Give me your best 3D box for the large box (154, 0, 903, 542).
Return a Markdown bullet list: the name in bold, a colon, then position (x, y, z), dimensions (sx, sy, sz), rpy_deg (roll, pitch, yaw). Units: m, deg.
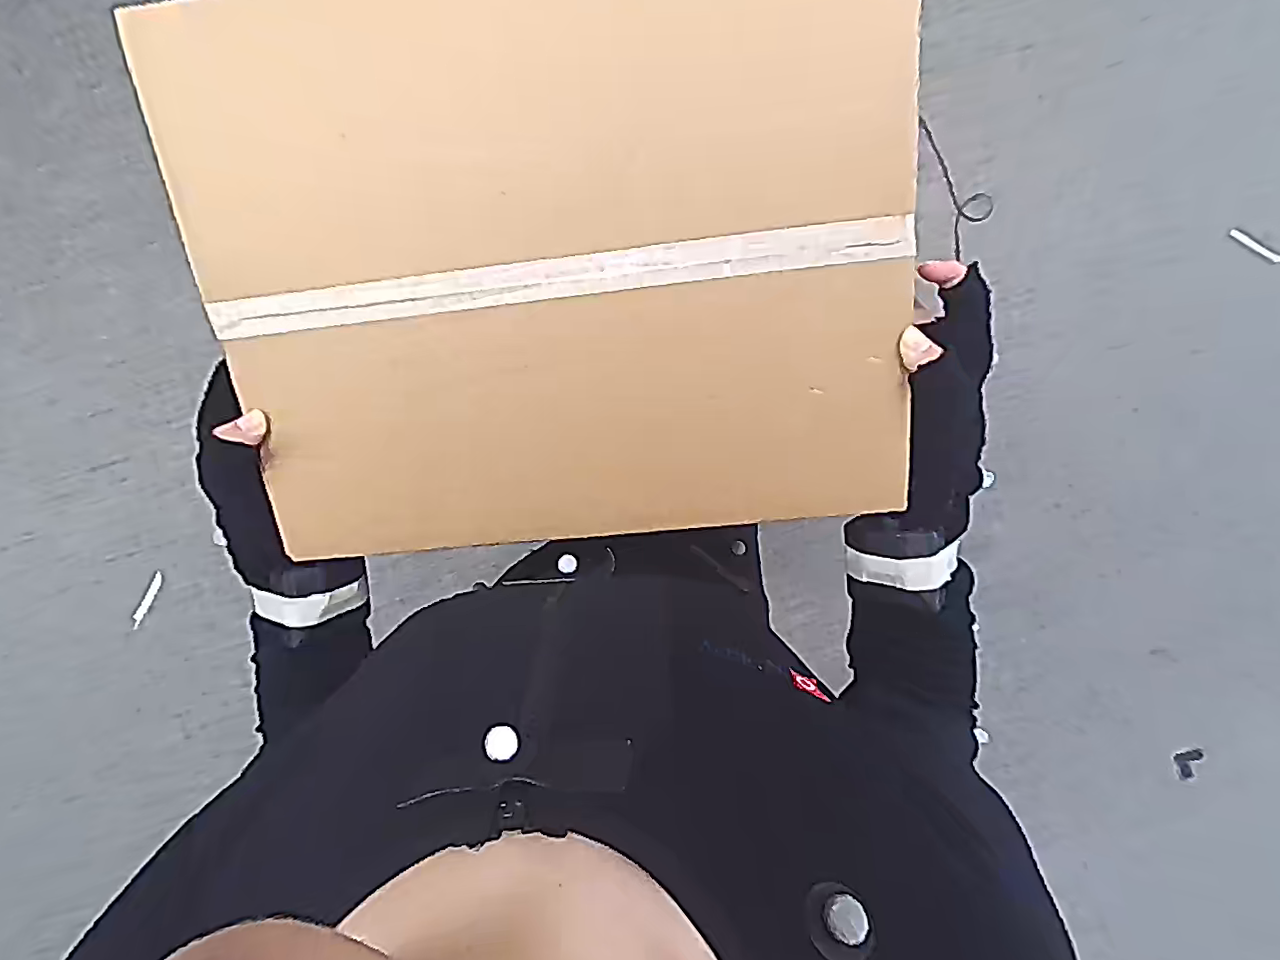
- **large box**: position (-0.047, -0.164, 0.460), dimensions (0.408, 0.320, 0.320), rpy_deg (-5, 107, 4)
